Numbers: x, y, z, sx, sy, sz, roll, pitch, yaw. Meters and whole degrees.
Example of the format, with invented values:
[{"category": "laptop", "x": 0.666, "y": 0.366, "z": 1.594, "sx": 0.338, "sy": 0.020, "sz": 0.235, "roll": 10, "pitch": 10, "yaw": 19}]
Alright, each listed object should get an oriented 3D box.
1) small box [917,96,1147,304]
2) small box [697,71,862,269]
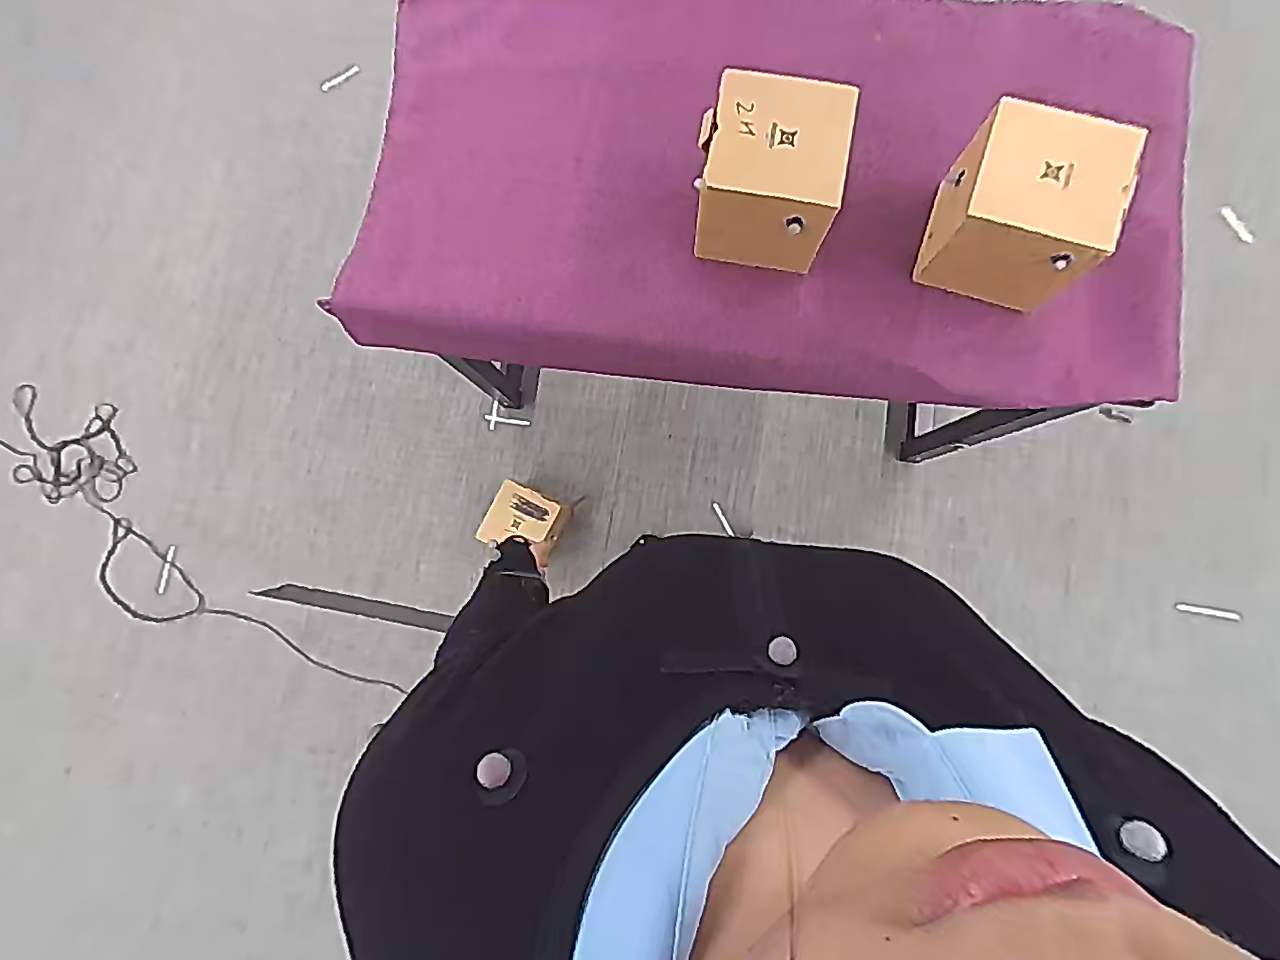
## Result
[{"category": "small box", "x": 0.507, "y": -0.361, "z": 0.728, "sx": 0.179, "sy": 0.176, "sz": 0.168, "roll": 18, "pitch": 85, "yaw": 6}, {"category": "small box", "x": 0.183, "y": -0.417, "z": 0.755, "sx": 0.179, "sy": 0.176, "sz": 0.168, "roll": 11, "pitch": 83, "yaw": 5}]
